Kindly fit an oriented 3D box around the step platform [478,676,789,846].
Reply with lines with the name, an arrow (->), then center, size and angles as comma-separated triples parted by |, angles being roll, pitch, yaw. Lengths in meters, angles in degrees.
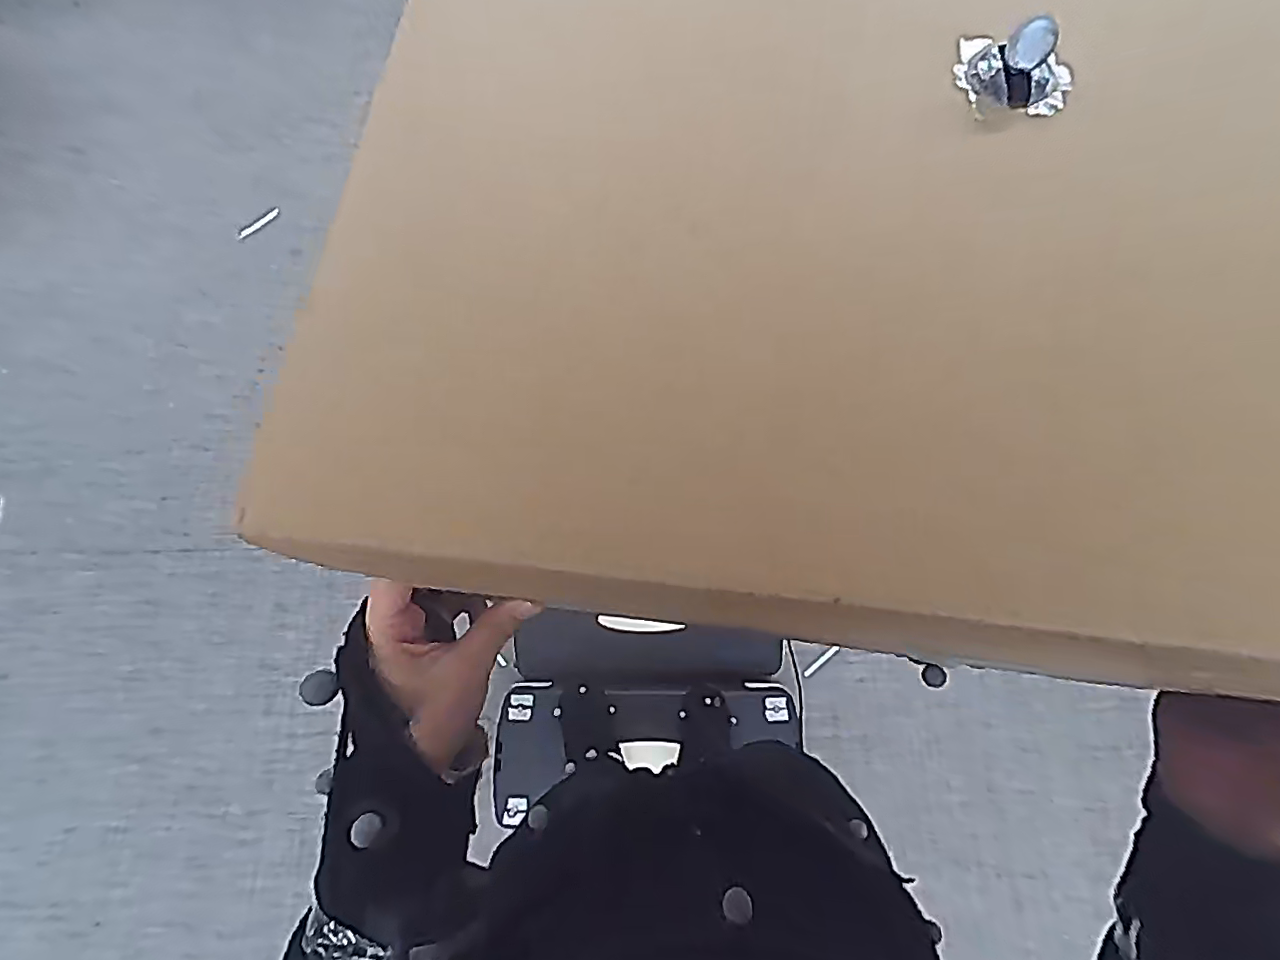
step platform -> -0.013, 0.628, 1.239 | 0.684, 0.204, 0.286 | 4, 73, 2
